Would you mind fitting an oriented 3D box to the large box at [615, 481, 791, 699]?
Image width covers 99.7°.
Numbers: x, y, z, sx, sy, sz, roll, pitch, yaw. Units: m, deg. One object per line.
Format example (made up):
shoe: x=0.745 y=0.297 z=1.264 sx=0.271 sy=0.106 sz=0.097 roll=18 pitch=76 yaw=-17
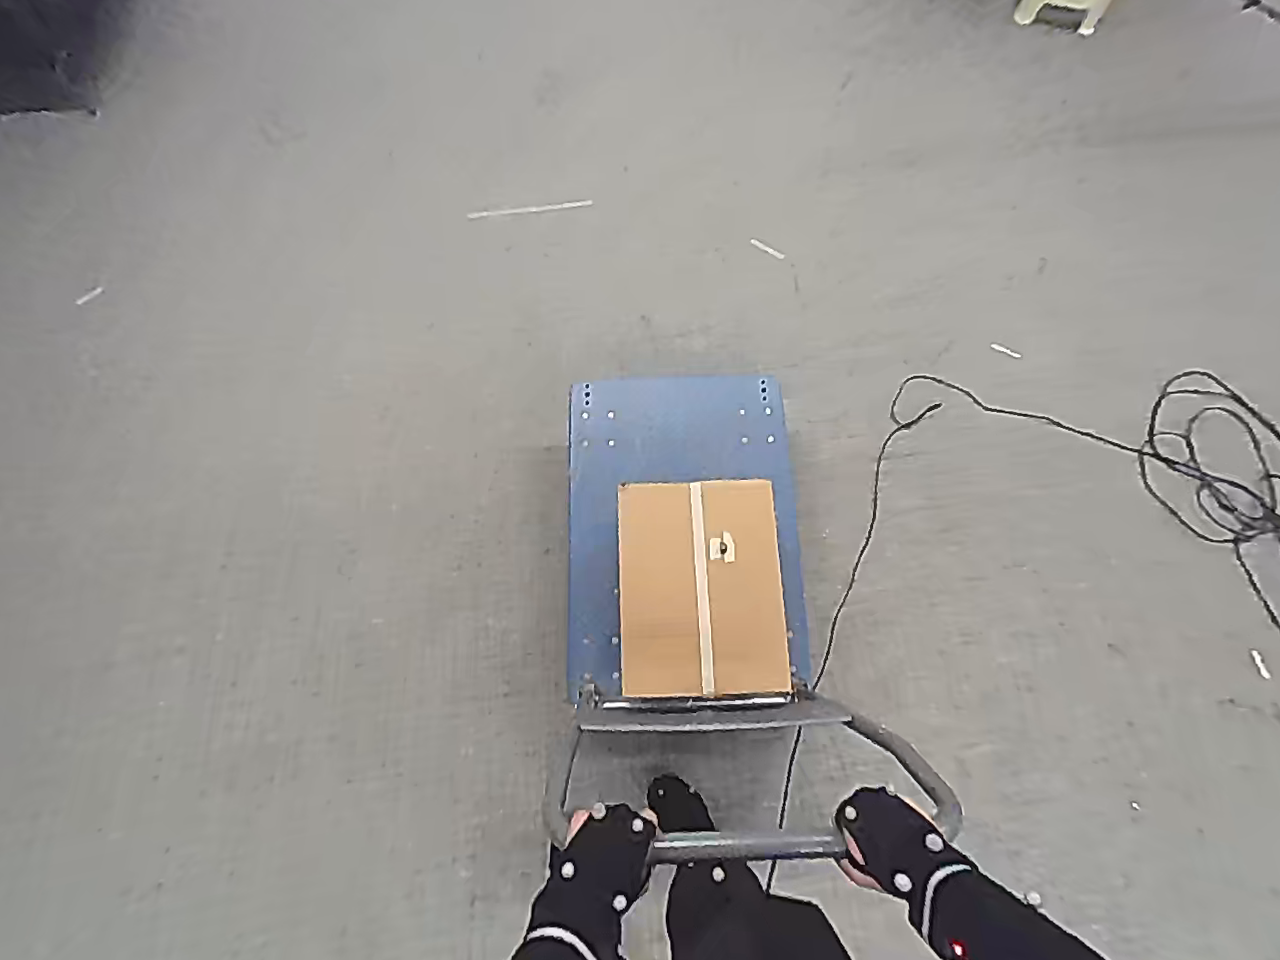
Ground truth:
large box: x=0.116 y=0.243 z=1.182 sx=0.320 sy=0.320 sz=0.408 roll=-2 pitch=74 yaw=-1
